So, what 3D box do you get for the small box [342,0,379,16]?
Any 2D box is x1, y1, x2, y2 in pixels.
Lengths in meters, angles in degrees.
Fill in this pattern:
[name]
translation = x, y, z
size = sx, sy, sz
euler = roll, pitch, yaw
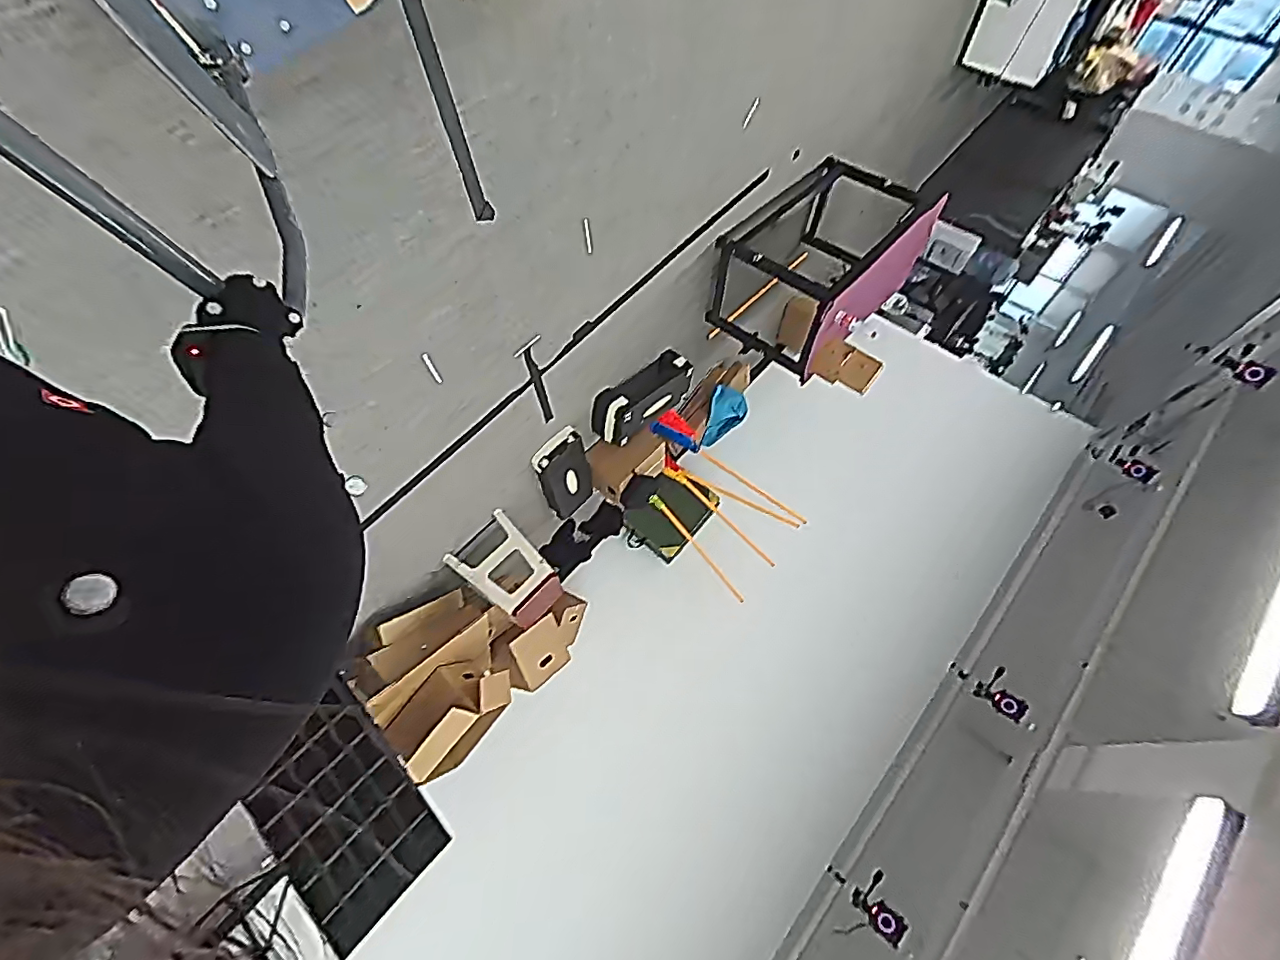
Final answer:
[small box]
translation = -0.453, -0.870, 0.810
size = 0.168, 0.176, 0.179
euler = -35, 158, 3
